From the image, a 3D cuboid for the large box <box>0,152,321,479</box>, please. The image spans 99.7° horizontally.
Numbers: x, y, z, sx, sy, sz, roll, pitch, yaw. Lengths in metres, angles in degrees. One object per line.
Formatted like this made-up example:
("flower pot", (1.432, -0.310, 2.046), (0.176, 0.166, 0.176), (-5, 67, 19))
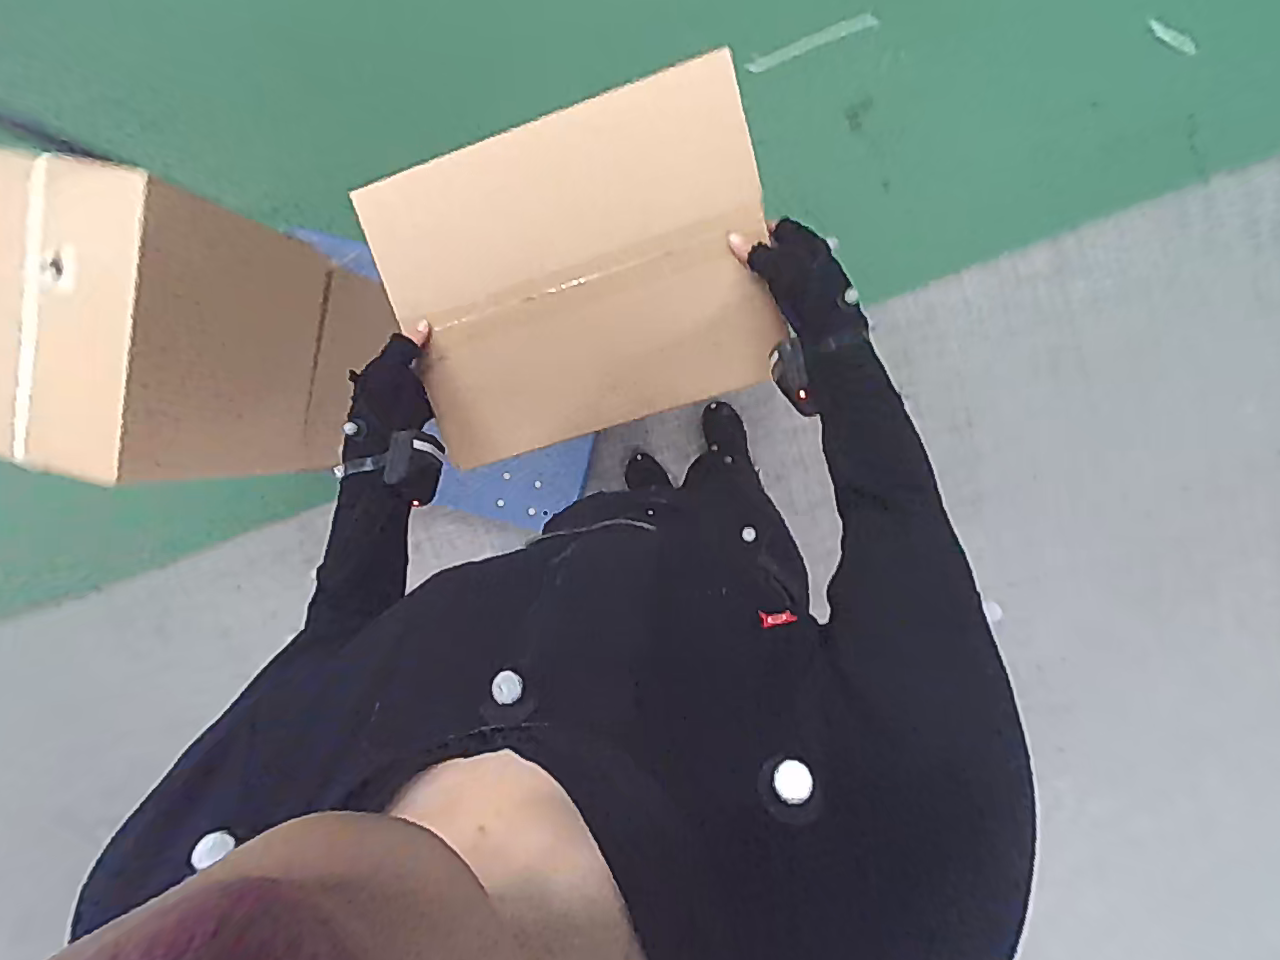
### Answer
("large box", (-0.773, -0.230, 0.864), (0.320, 0.320, 0.408), (12, 96, 9))
